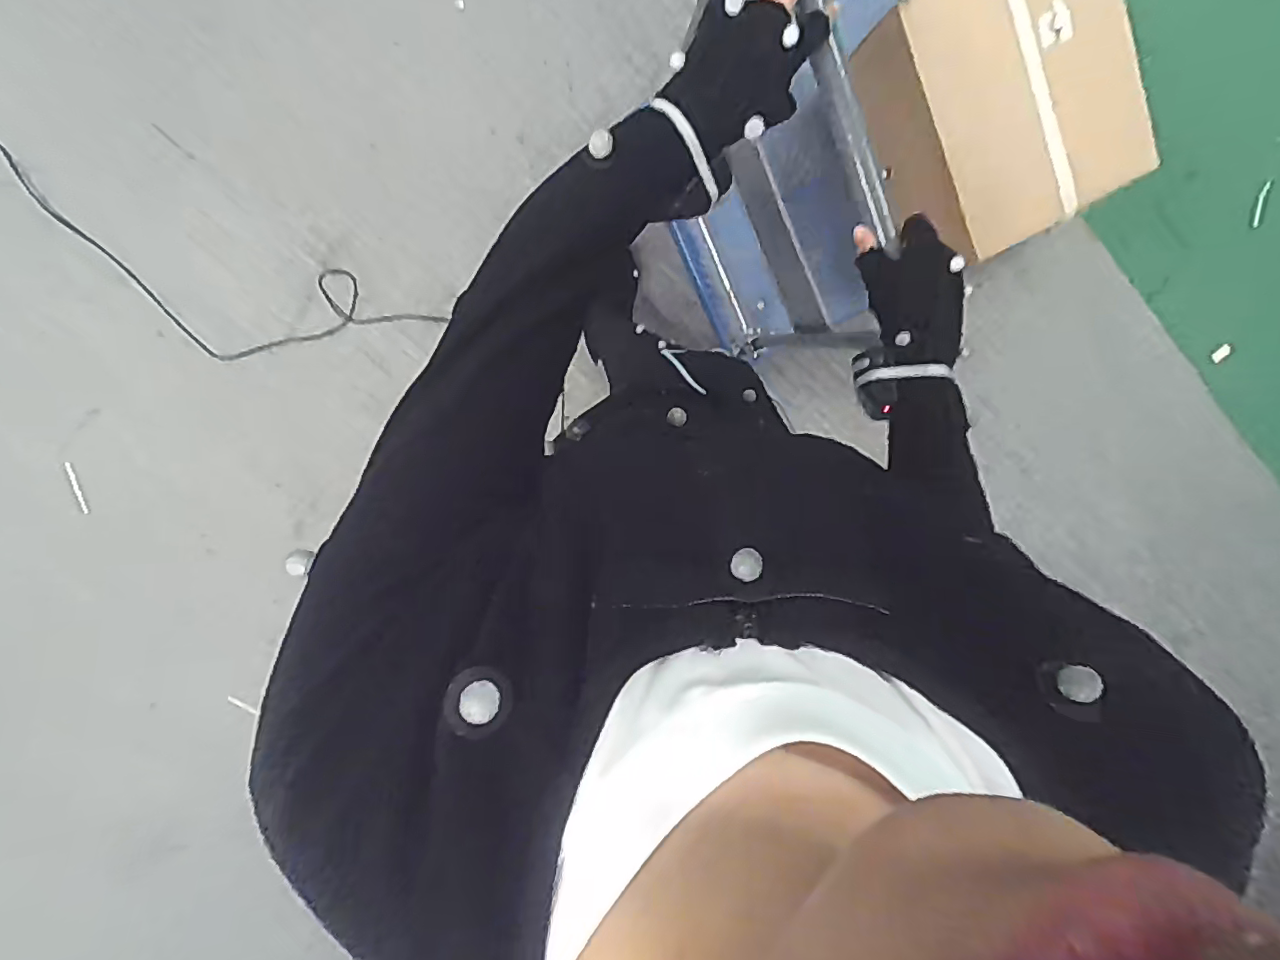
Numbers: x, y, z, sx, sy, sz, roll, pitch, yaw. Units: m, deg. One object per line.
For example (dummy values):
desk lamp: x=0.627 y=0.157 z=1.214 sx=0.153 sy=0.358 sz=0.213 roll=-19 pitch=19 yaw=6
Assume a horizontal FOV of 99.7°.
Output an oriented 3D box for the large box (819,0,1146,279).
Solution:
large box: x=0.584 y=-0.635 z=0.979 sx=0.320 sy=0.320 sz=0.408 roll=-27 pitch=104 yaw=5
